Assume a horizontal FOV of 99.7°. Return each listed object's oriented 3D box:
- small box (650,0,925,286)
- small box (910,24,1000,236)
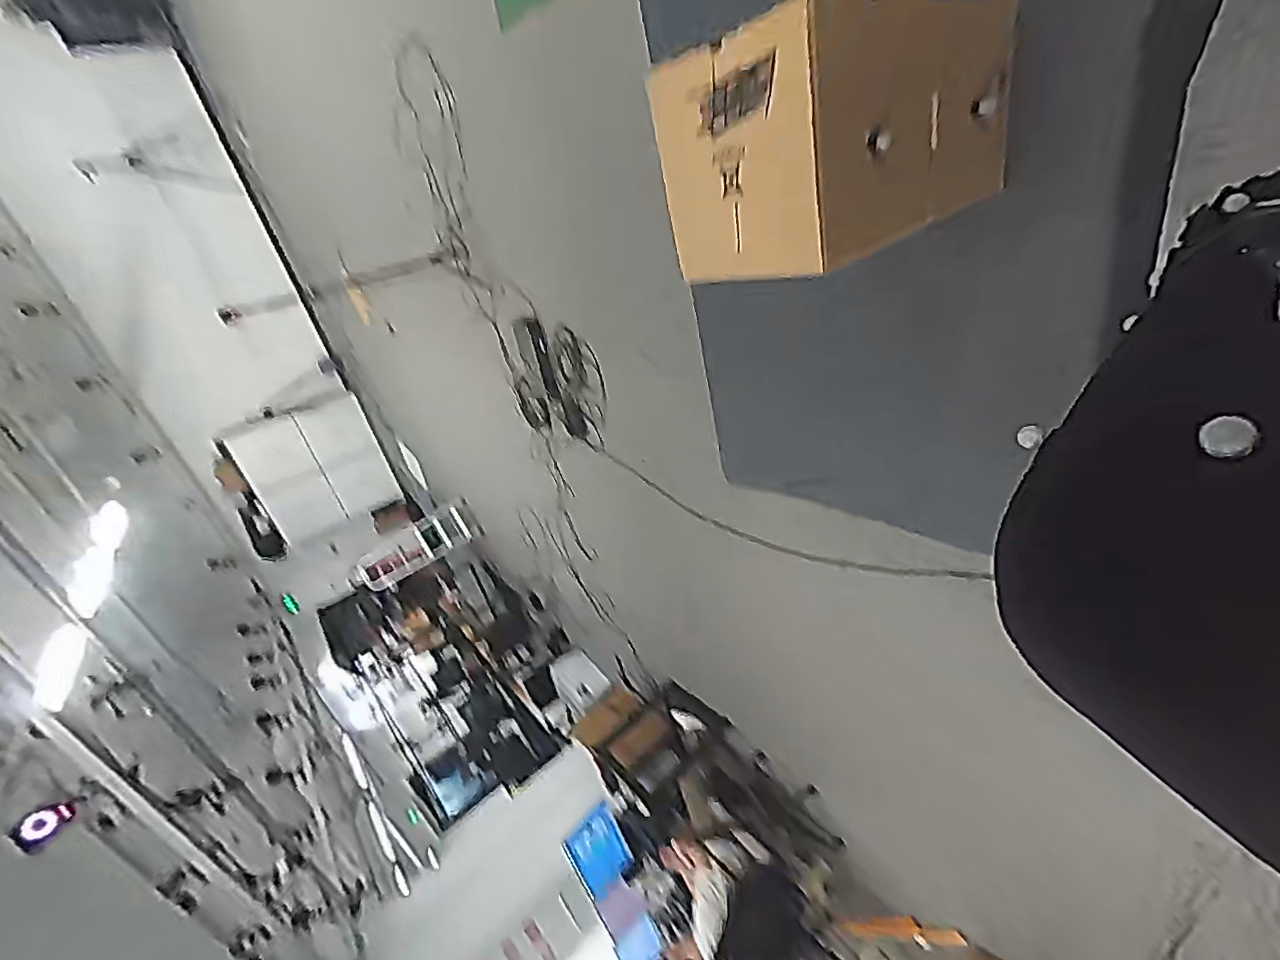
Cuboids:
[{"bbox_3d":[0.138,-0.290,0.493,0.168,0.176,0.179,17,129,50],"label":"small box"},{"bbox_3d":[0.258,-0.360,0.582,0.179,0.176,0.168,19,132,48],"label":"small box"}]
